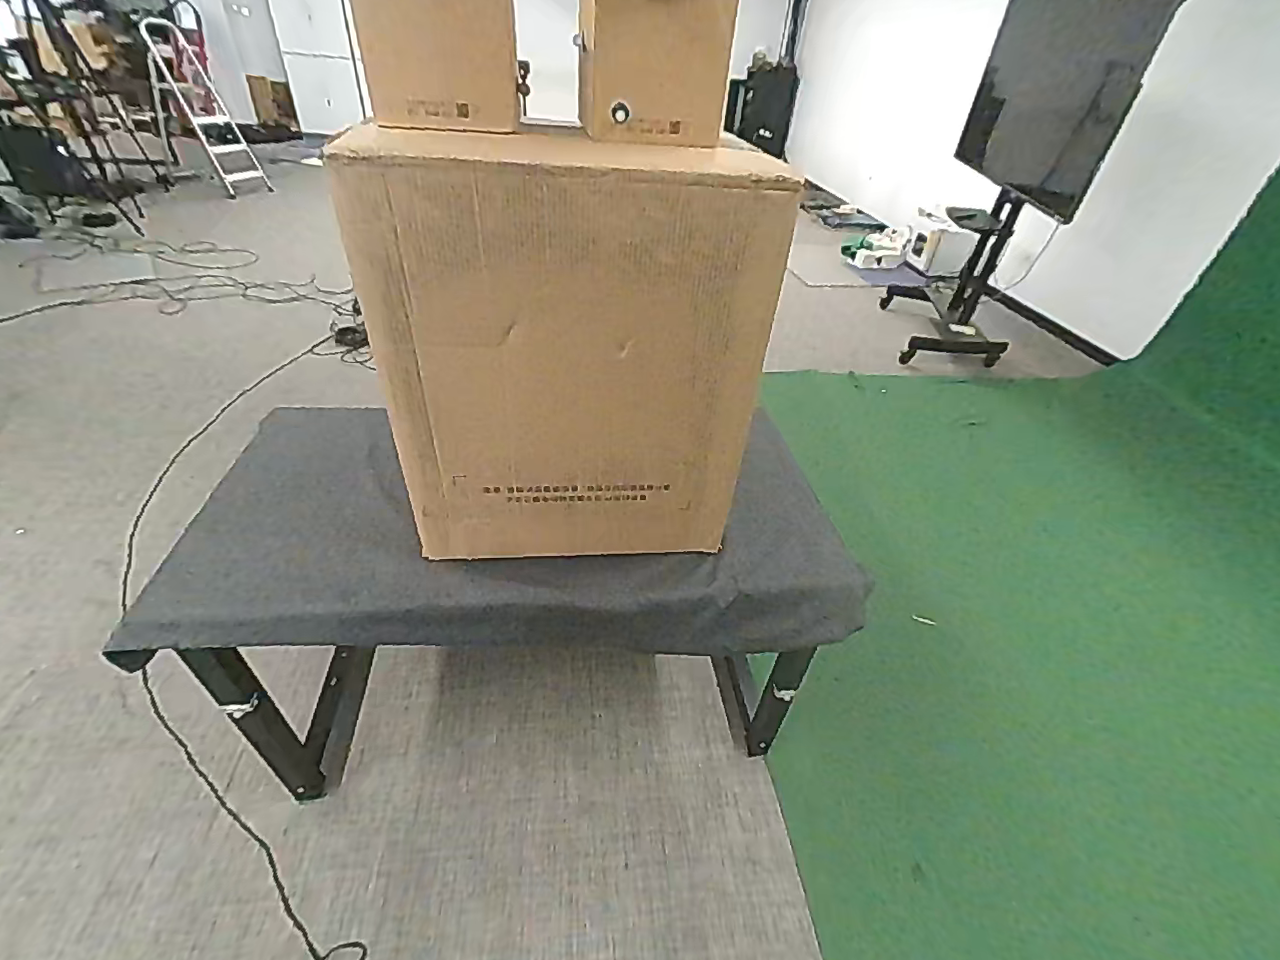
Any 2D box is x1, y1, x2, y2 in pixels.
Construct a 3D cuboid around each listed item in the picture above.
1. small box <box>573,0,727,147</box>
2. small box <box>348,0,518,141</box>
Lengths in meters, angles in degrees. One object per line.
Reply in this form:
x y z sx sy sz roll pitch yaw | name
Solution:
0.004 -0.541 0.698 0.168 0.176 0.179 -4 41 -11 | small box
-0.243 -0.530 0.665 0.168 0.176 0.179 -3 40 -7 | small box
